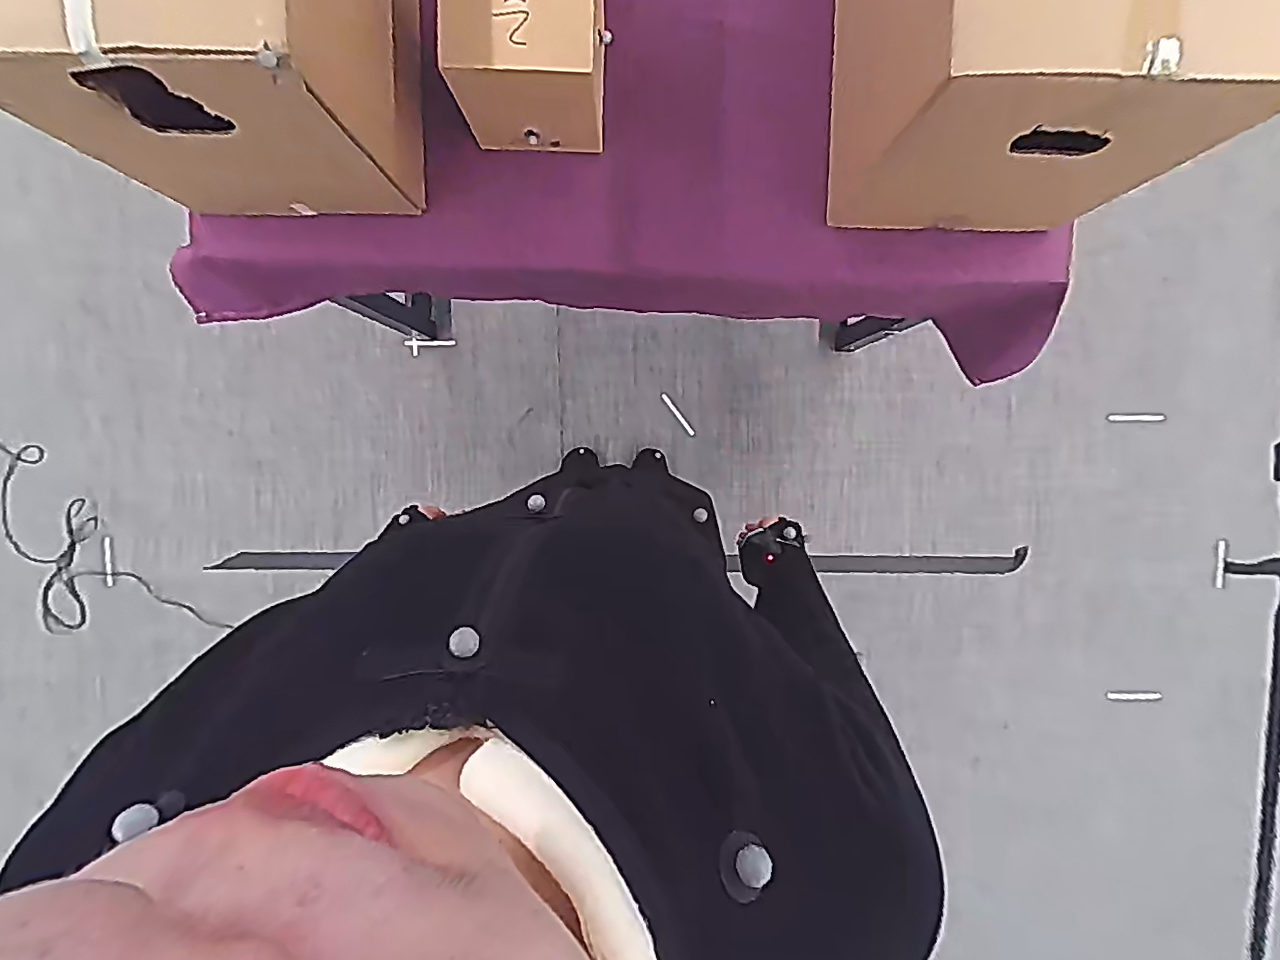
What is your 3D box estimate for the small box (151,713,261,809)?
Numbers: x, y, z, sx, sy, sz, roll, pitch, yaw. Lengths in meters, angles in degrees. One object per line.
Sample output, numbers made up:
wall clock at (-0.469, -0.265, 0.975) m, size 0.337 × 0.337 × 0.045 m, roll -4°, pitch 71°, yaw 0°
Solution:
small box at (-1.175, 0.759, 1.475) m, size 0.179 × 0.176 × 0.168 m, roll 5°, pitch 95°, yaw -1°
